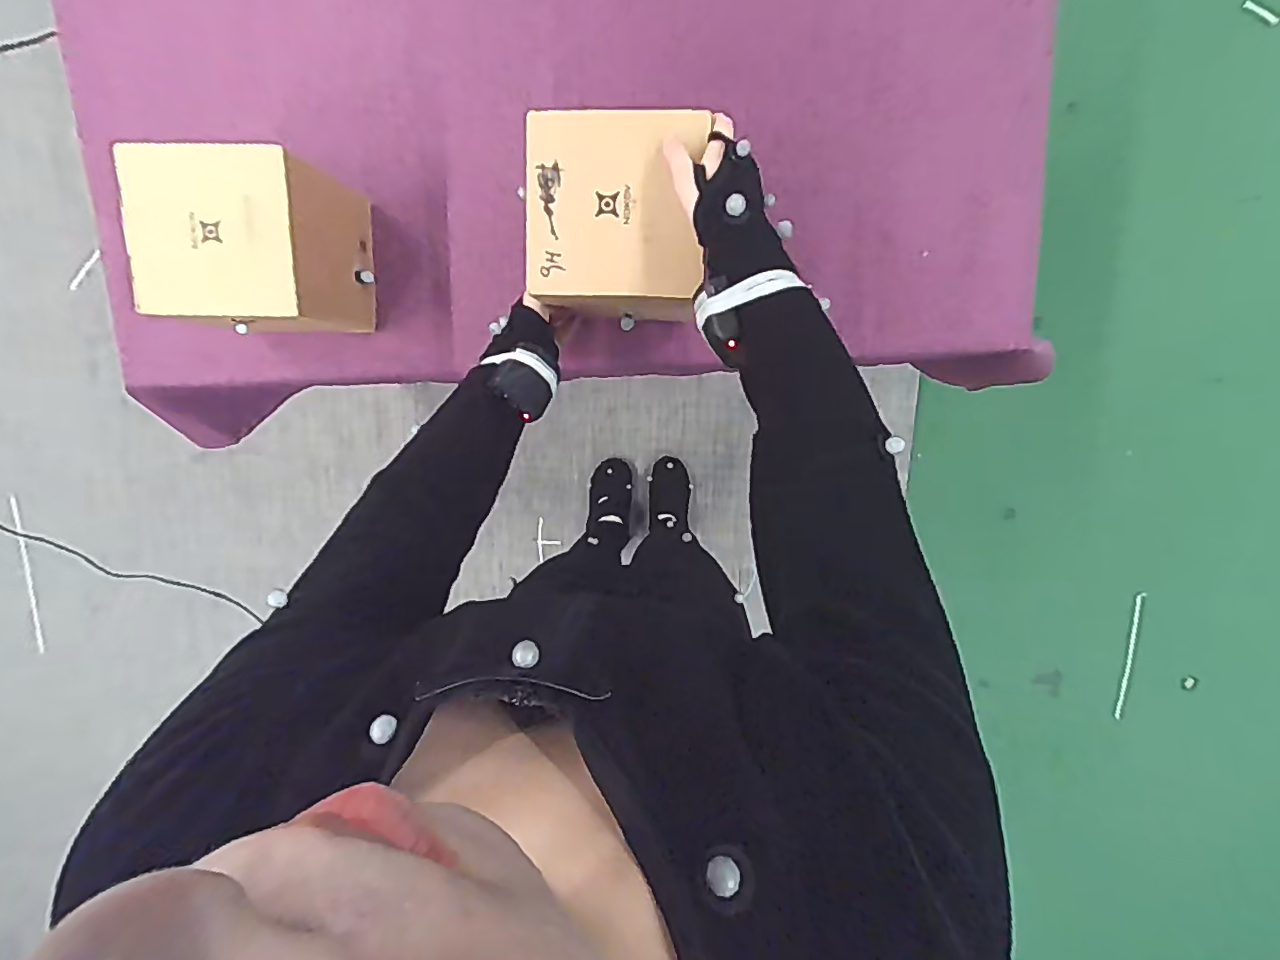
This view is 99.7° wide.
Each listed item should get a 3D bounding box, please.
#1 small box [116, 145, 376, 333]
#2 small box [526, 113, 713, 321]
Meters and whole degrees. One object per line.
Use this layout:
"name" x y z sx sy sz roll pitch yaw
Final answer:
"small box" -0.436 -0.263 0.628 0.179 0.176 0.168 2 100 1
"small box" -0.019 -0.271 0.593 0.179 0.176 0.168 2 99 3
